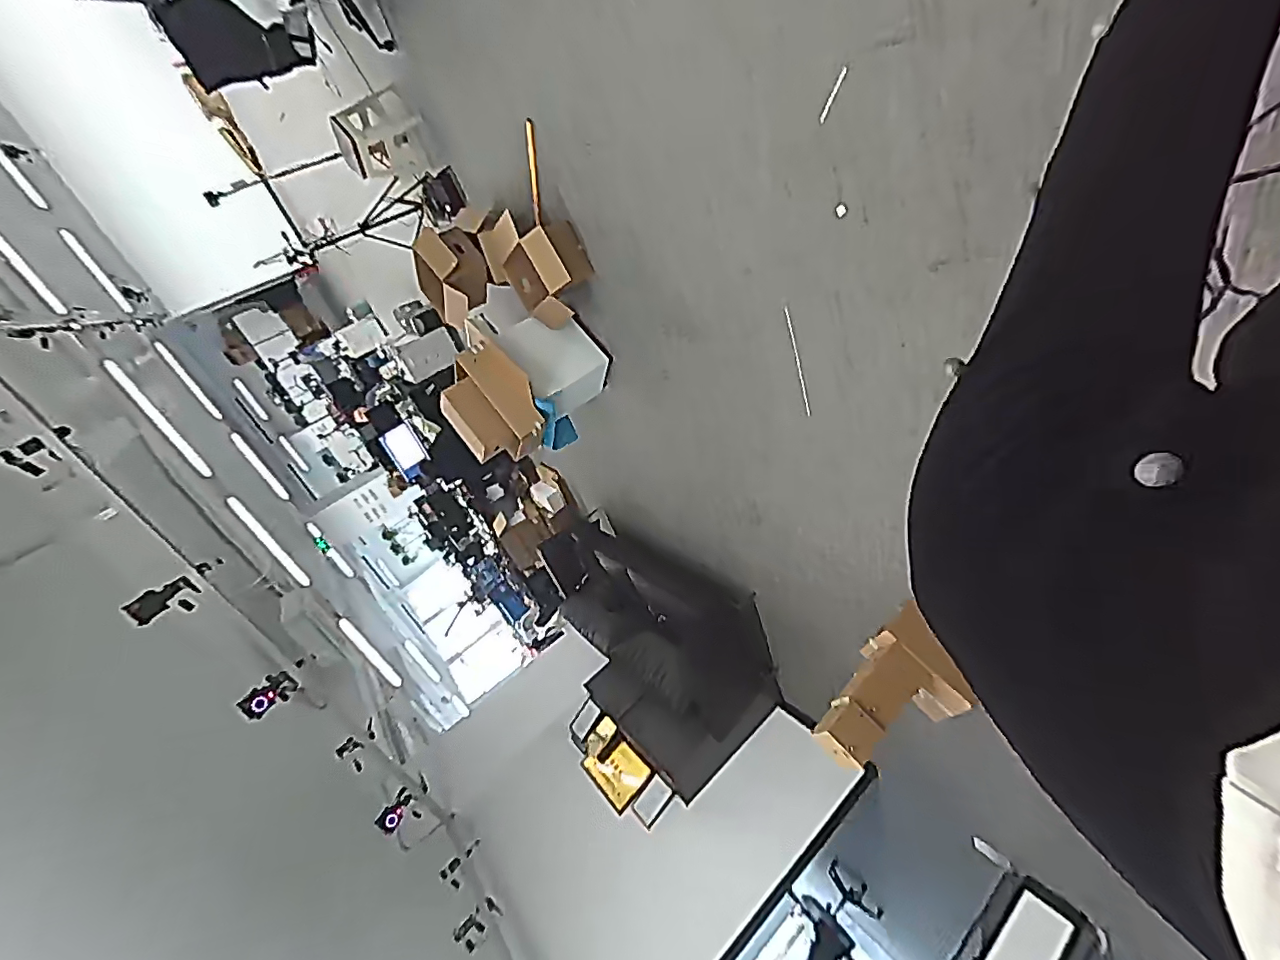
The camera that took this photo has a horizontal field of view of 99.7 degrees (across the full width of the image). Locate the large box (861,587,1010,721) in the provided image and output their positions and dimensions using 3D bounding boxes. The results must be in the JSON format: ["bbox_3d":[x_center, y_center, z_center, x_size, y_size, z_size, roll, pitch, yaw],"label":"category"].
[{"bbox_3d":[1.246,0.738,2.310,0.408,0.320,0.320,42,156,23],"label":"large box"}]

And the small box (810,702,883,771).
[{"bbox_3d":[0.785,0.972,2.049,0.168,0.176,0.179,44,155,18],"label":"small box"}]

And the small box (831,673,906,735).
[{"bbox_3d":[0.899,0.885,2.129,0.179,0.176,0.168,44,154,19],"label":"small box"}]
